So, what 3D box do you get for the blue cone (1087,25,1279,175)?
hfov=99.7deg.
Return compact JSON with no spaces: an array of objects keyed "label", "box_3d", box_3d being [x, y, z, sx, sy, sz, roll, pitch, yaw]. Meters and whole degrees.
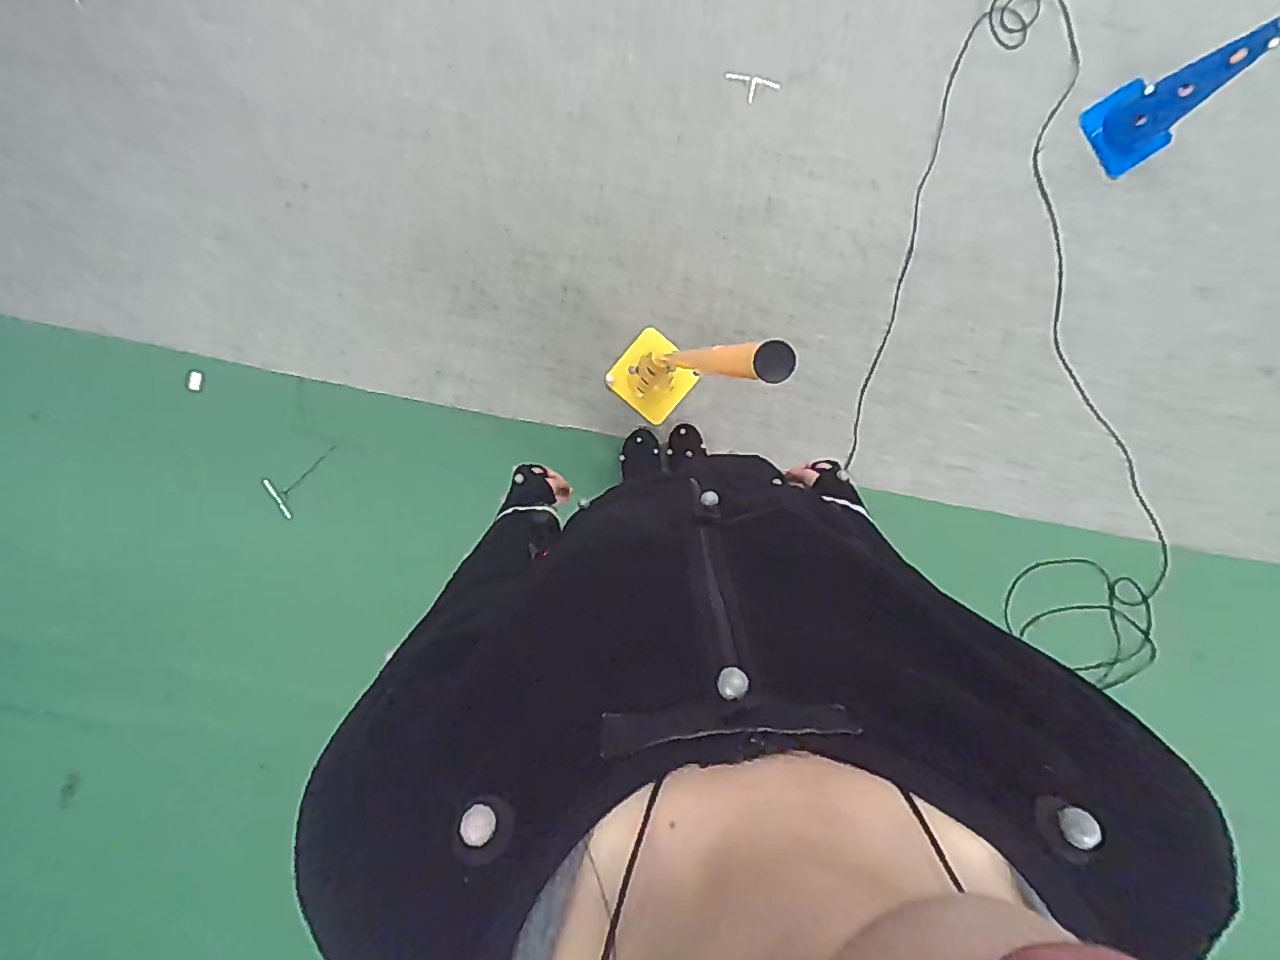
[{"label":"blue cone","box_3d":[1.316,-0.936,1.284,0.193,0.380,0.192,-34,93,-2]}]
